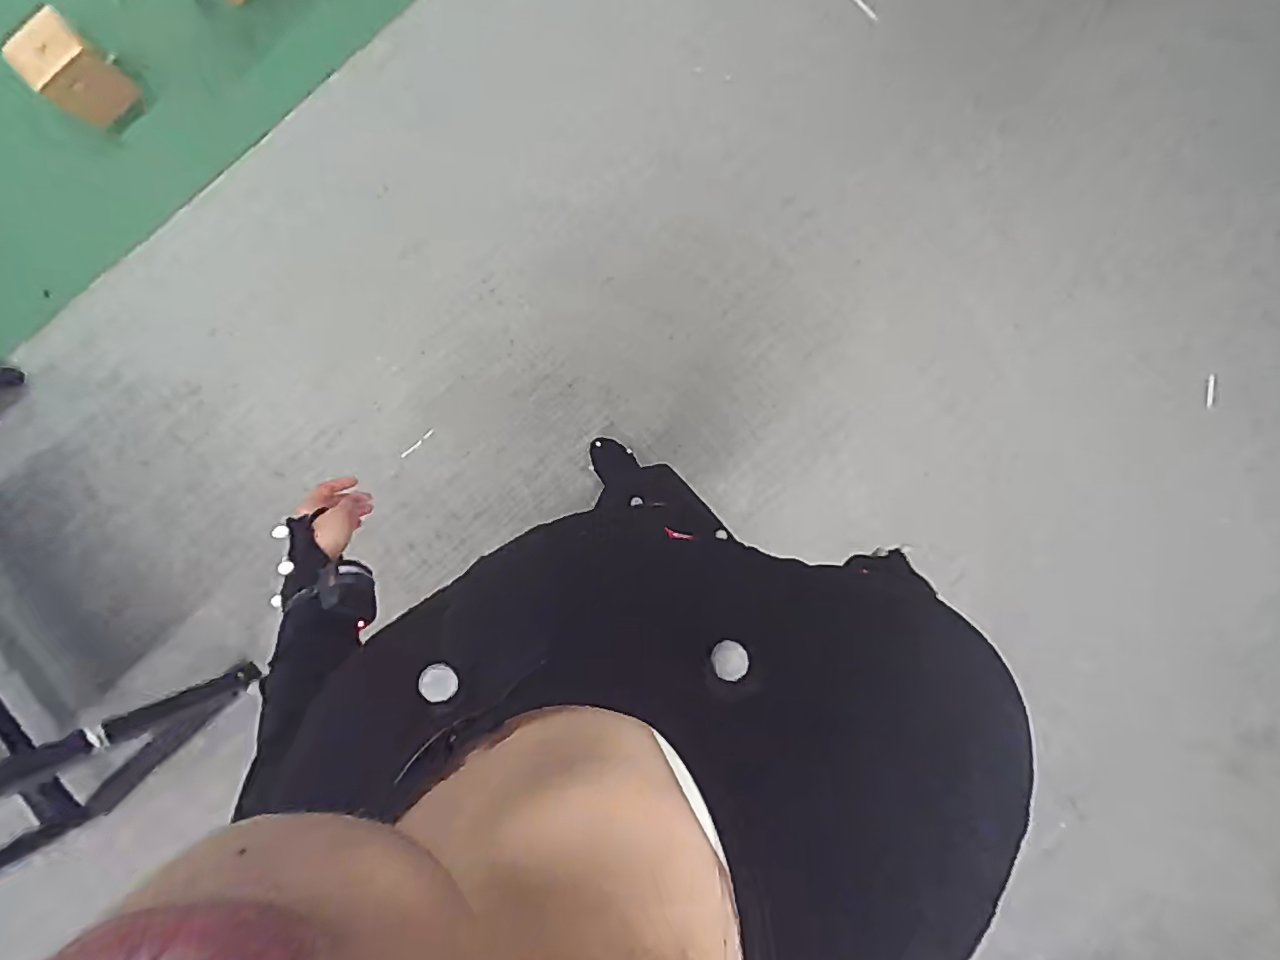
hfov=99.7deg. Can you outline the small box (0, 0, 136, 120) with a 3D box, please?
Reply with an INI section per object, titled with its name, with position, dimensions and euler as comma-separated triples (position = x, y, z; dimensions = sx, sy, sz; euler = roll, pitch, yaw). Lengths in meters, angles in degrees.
[small box]
position = -1.579, -1.156, 1.499
dimensions = 0.179, 0.176, 0.168
euler = -41, 88, 0
